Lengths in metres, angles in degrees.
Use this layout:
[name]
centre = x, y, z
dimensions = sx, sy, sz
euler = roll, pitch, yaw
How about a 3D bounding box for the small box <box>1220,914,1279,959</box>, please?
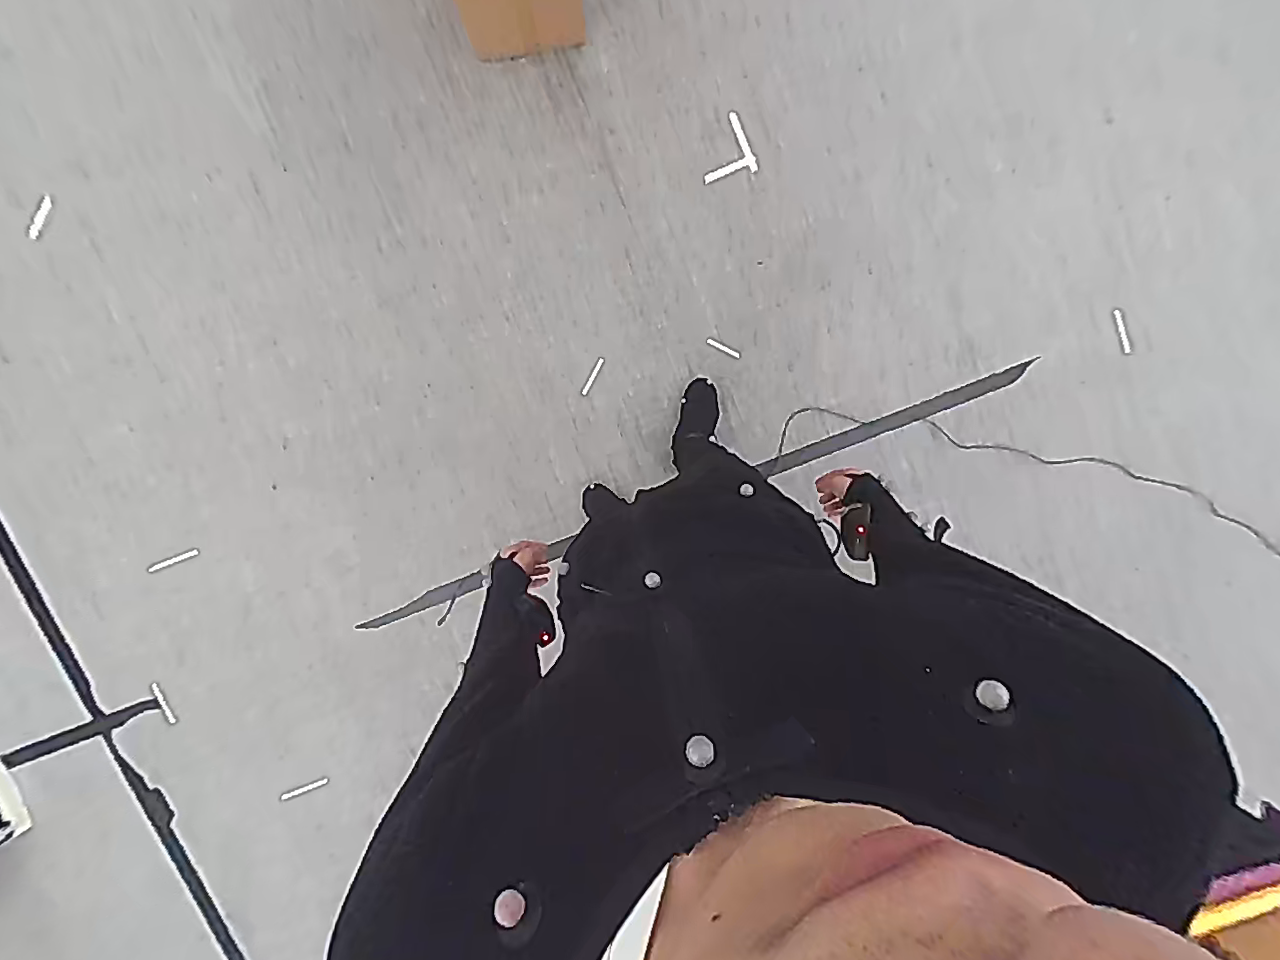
[small box]
centre = 1.173, 0.907, 0.937
dimensions = 0.179, 0.176, 0.168
euler = -17, 96, 0
